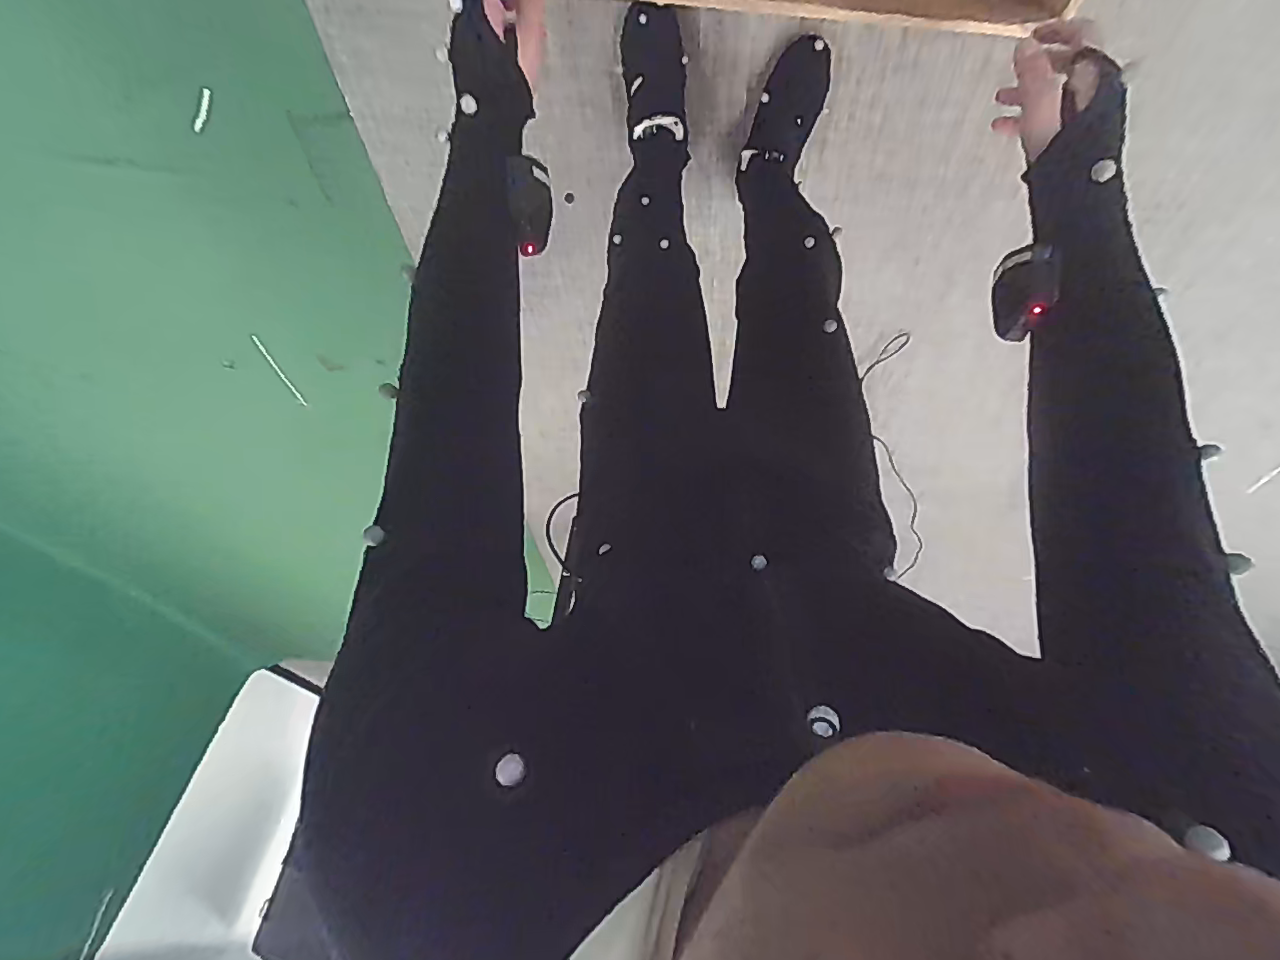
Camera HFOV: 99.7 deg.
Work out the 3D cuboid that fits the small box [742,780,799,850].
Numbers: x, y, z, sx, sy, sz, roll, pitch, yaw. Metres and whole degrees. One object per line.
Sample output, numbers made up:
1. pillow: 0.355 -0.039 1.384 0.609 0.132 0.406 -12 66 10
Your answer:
1. small box: 0.431 1.110 1.794 0.168 0.176 0.179 3 142 8
